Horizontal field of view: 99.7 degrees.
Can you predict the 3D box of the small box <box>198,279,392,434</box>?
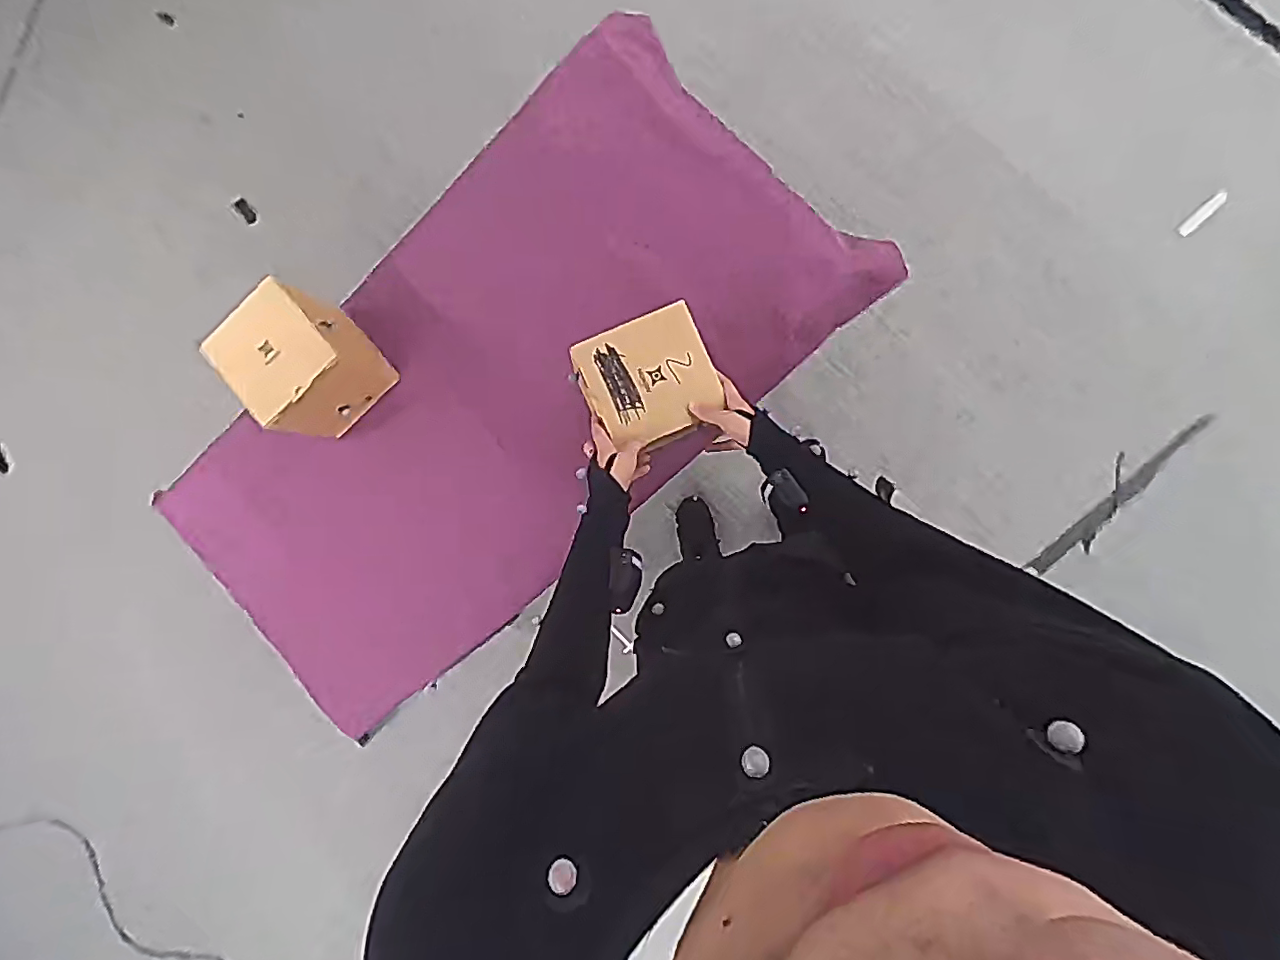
[{"bbox_3d":[-0.565,-0.193,0.908,0.168,0.176,0.179,-42,85,5],"label":"small box"}]
